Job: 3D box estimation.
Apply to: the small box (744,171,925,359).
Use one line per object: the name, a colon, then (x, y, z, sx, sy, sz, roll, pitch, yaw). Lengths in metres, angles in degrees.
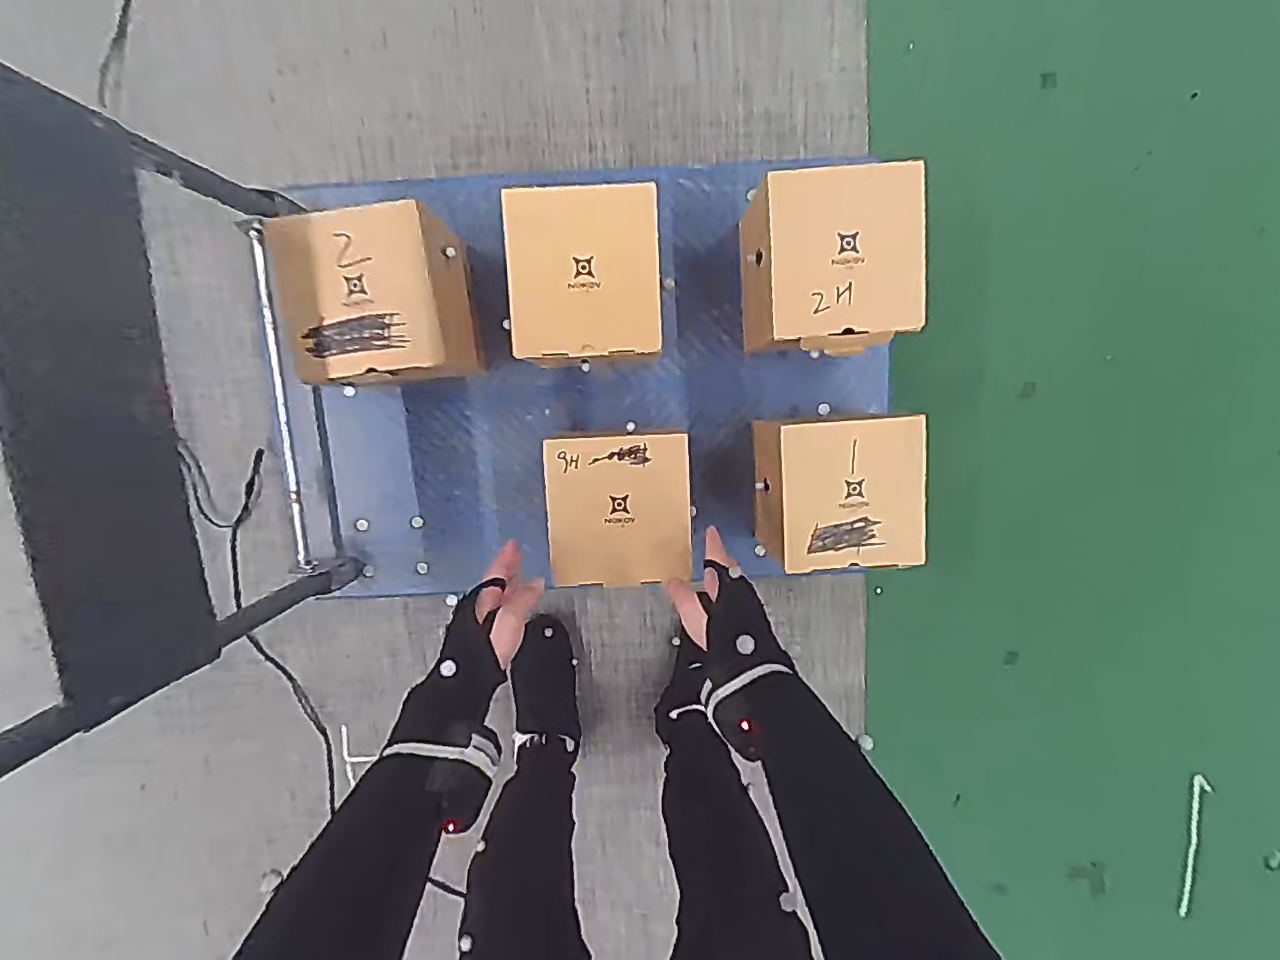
small box: (0.223, -0.247, 0.660, 0.168, 0.176, 0.179, -3, 98, 1)

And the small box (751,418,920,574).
small box: (0.246, 0.012, 0.715, 0.168, 0.176, 0.179, -4, 98, 0)

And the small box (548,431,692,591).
small box: (-0.022, 0.031, 0.700, 0.168, 0.176, 0.179, -2, 98, -1)

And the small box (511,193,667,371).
small box: (-0.056, -0.229, 0.665, 0.168, 0.176, 0.179, -3, 99, 0)
